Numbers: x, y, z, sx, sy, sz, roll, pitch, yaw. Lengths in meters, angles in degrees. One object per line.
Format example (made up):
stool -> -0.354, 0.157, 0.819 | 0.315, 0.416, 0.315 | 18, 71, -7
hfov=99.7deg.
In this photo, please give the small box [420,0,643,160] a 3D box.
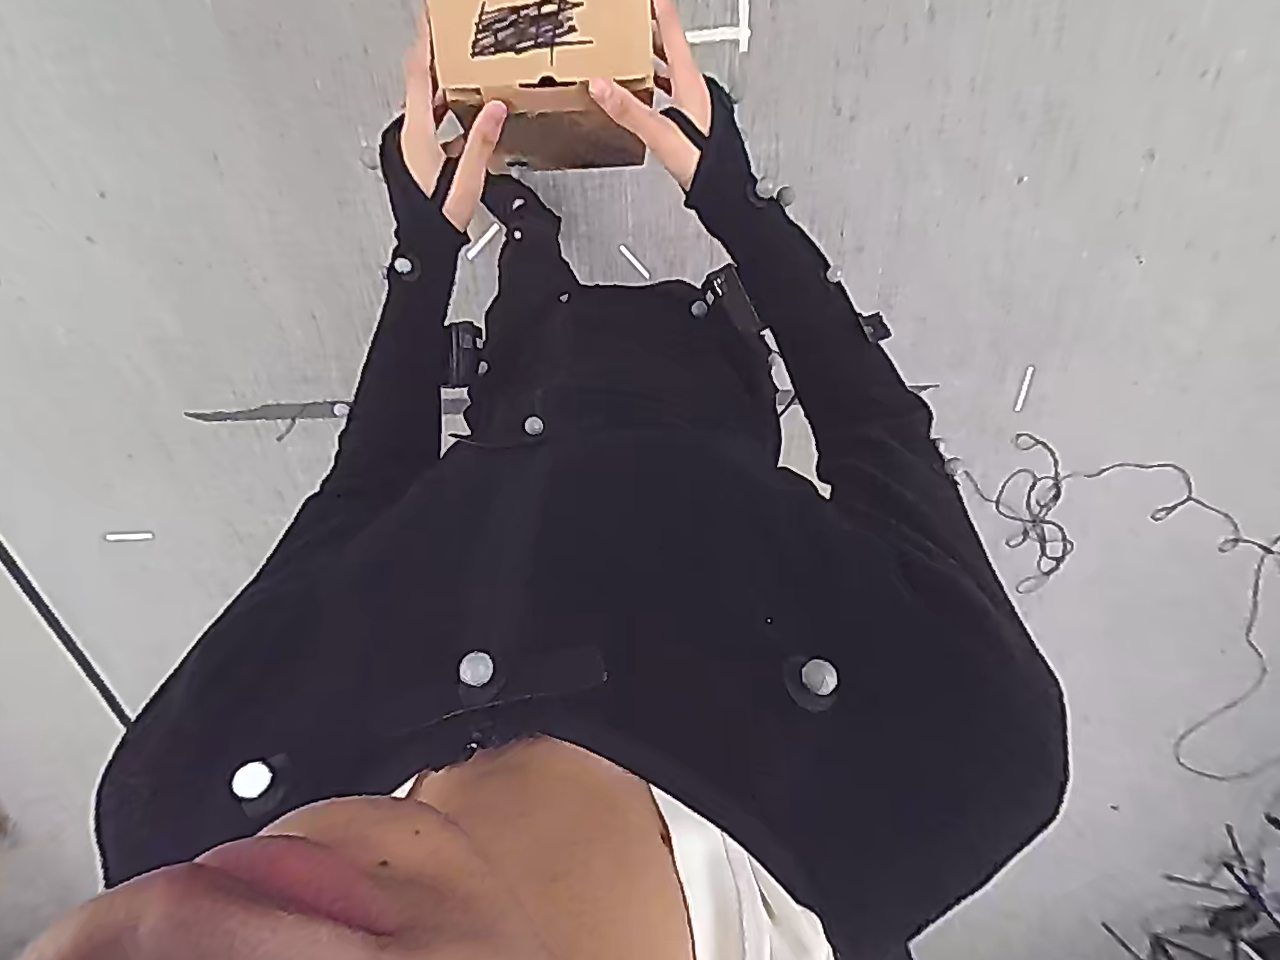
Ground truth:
small box -> -0.084, -0.400, 0.472 | 0.168, 0.176, 0.179 | -4, 101, -2
